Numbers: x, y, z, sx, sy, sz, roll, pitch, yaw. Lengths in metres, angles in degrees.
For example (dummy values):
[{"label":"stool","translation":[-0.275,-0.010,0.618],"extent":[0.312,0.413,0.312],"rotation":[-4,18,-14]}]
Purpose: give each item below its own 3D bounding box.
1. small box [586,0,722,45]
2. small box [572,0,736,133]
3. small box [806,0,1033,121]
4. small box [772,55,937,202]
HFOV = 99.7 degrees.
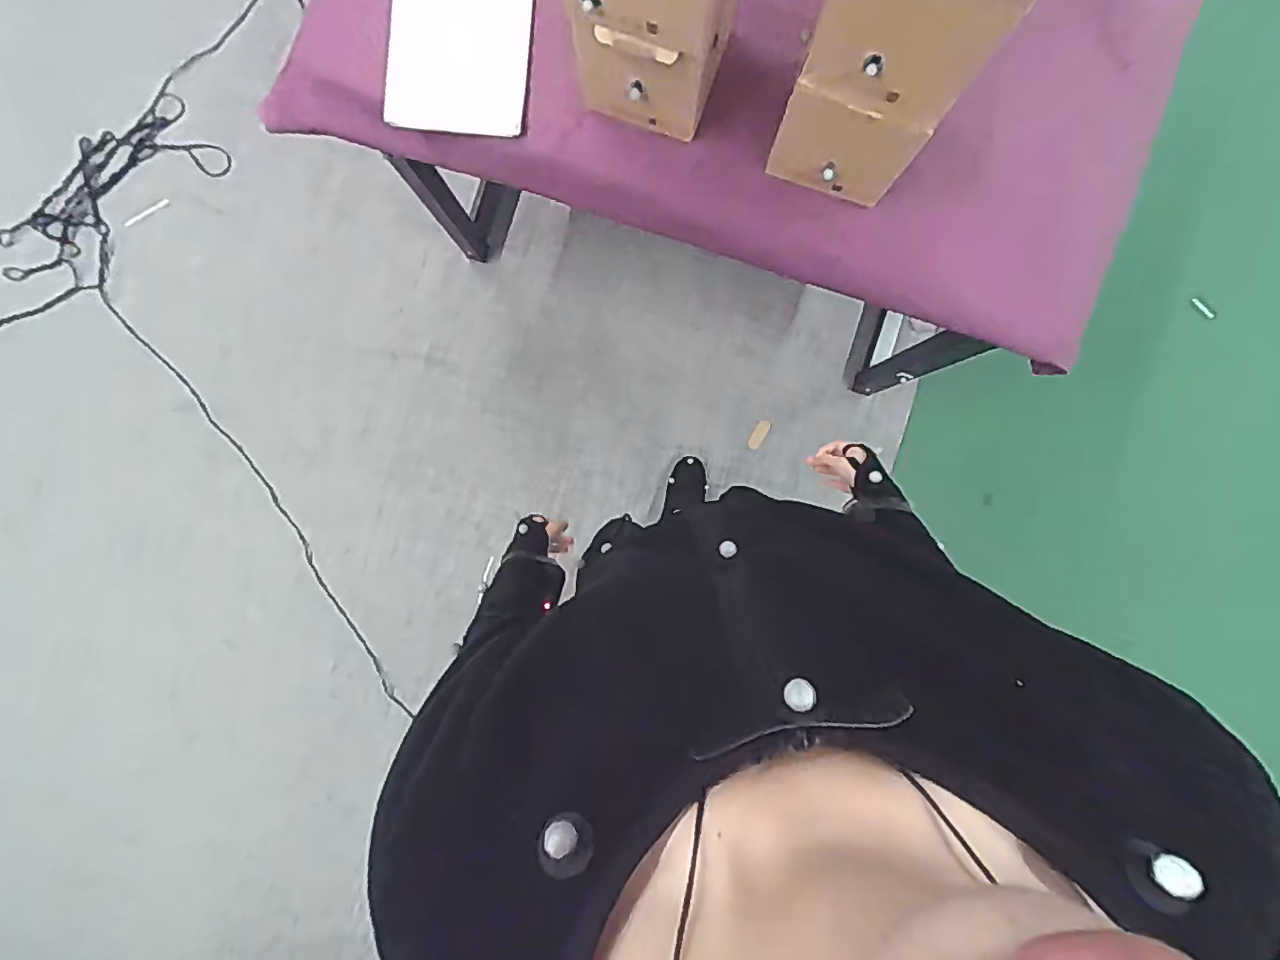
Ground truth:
[{"label":"small box","translation":[0.024,-0.593,0.536],"extent":[0.168,0.176,0.179],"rotation":[20,89,0]},{"label":"small box","translation":[0.027,-0.600,0.701],"extent":[0.168,0.176,0.179],"rotation":[19,91,0]},{"label":"small box","translation":[0.285,-0.512,0.535],"extent":[0.168,0.176,0.179],"rotation":[20,90,0]},{"label":"small box","translation":[0.285,-0.504,0.698],"extent":[0.168,0.176,0.179],"rotation":[20,90,2]}]
